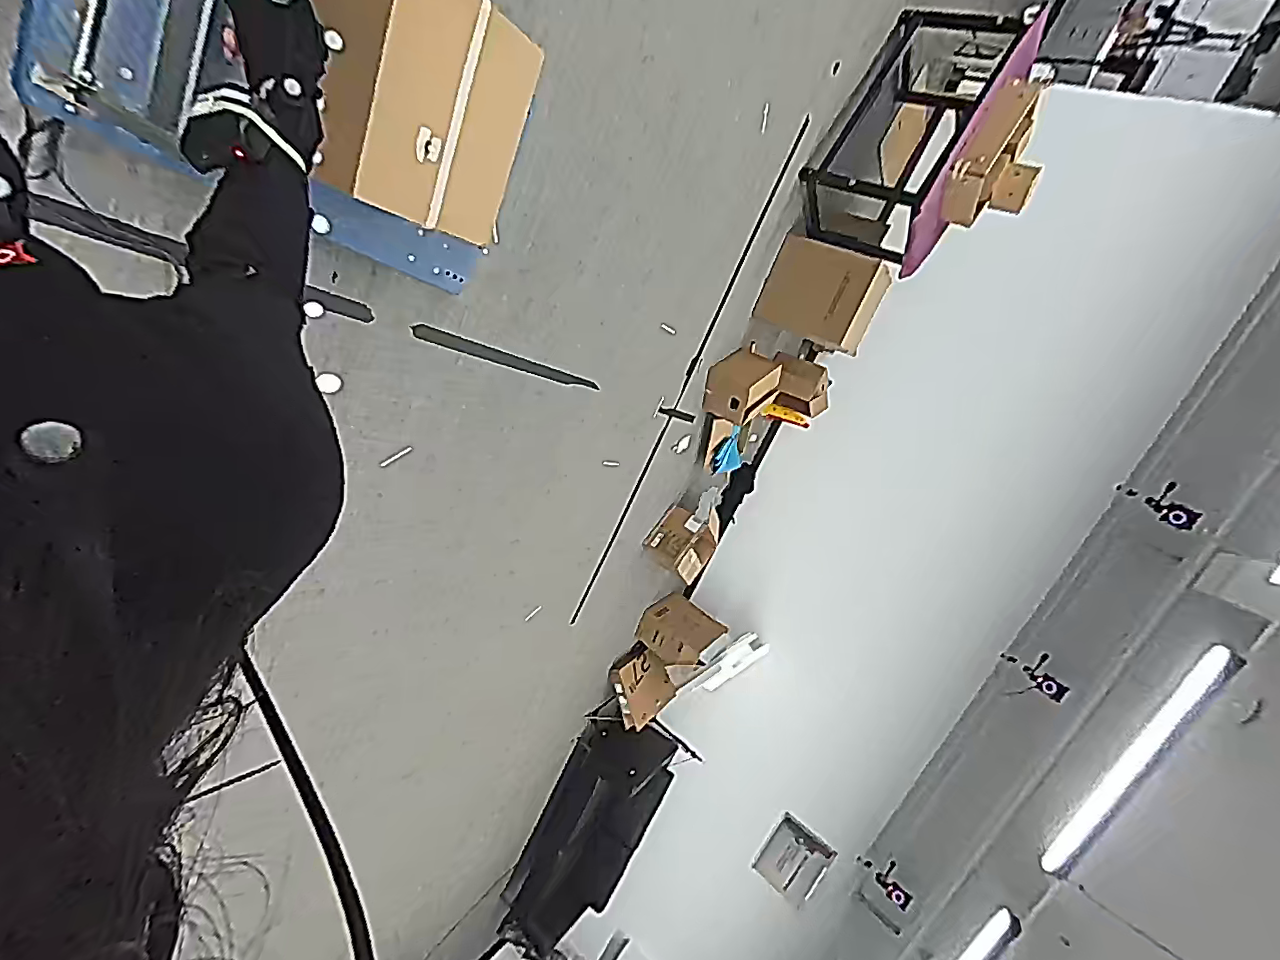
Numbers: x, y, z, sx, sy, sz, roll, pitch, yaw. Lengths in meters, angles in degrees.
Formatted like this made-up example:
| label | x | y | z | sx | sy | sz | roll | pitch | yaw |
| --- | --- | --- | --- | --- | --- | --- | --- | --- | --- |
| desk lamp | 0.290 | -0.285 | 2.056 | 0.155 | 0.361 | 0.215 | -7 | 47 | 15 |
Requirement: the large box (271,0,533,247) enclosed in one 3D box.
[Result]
| label | x | y | z | sx | sy | sz | roll | pitch | yaw |
| --- | --- | --- | --- | --- | --- | --- | --- | --- | --- |
| large box | -0.482 | -0.760 | 1.093 | 0.320 | 0.320 | 0.408 | -5 | 124 | -58 |
